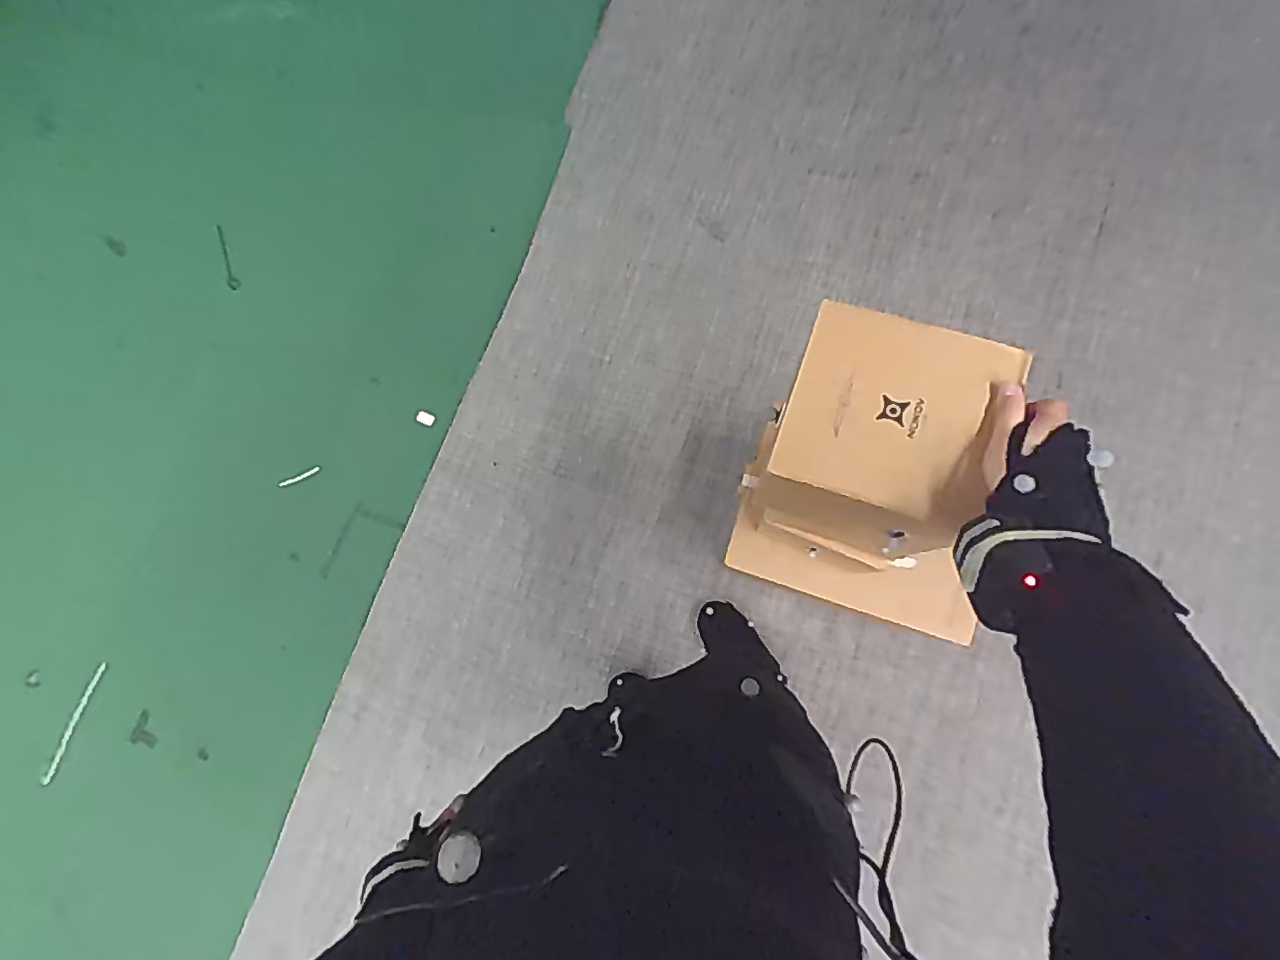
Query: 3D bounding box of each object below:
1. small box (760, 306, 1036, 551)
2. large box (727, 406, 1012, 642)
[{"bbox_3d":[0.226,-0.035,0.520,0.179,0.176,0.168,18,81,12],"label":"small box"},{"bbox_3d":[0.404,0.089,1.054,0.408,0.320,0.320,17,83,10],"label":"large box"}]
